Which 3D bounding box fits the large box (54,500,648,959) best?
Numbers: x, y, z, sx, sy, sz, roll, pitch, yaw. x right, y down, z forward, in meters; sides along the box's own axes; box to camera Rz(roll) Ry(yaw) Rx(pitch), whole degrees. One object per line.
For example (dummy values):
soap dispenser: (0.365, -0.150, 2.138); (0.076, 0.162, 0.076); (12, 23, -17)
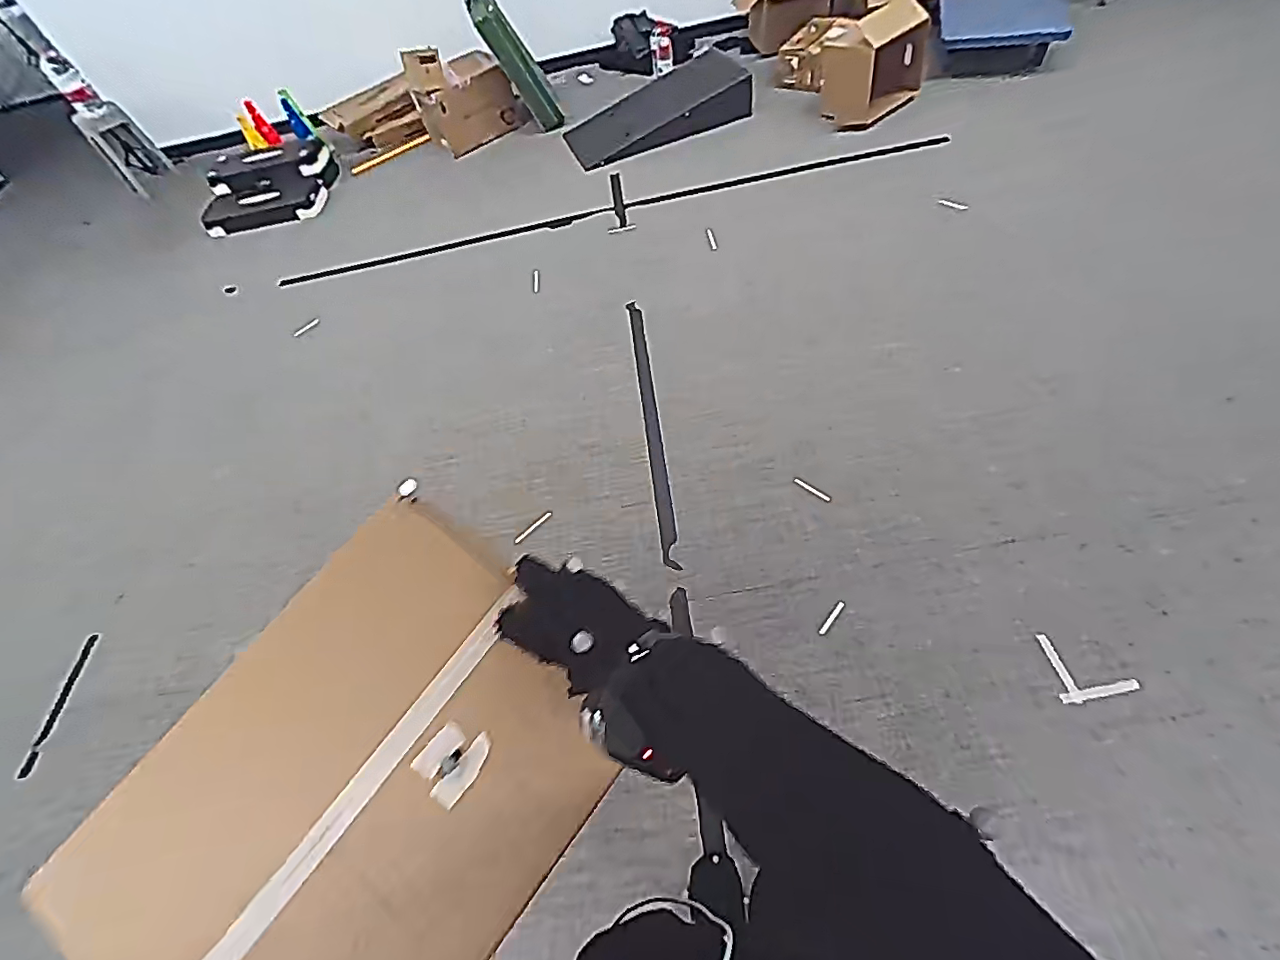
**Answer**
large box: (-0.229, 0.301, 0.589); (0.320, 0.320, 0.408); (35, 75, 9)
